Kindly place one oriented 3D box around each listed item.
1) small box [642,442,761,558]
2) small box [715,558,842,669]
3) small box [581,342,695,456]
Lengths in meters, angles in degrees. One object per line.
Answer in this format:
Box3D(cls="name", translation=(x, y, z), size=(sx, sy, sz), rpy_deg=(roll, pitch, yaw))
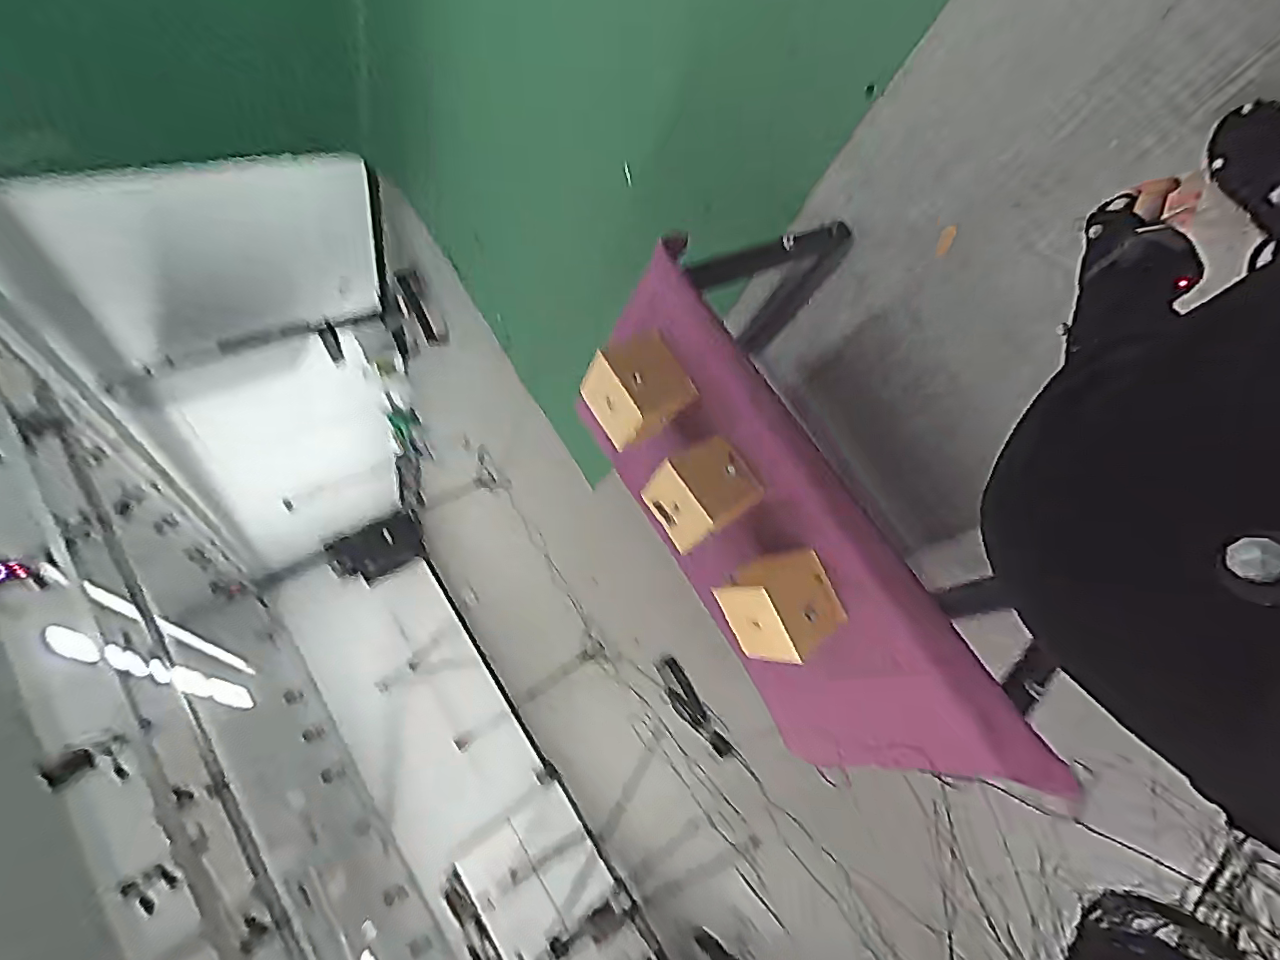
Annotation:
Box3D(cls="small box", translation=(0.138, 0.044, 1.208), size=(0.168, 0.176, 0.179), rpy_deg=(54, 148, 13))
Box3D(cls="small box", translation=(0.301, 0.278, 1.152), size=(0.168, 0.176, 0.179), rpy_deg=(62, 150, -1))
Box3D(cls="small box", translation=(-0.004, -0.187, 1.235), size=(0.179, 0.176, 0.168), rpy_deg=(57, 150, 9))
